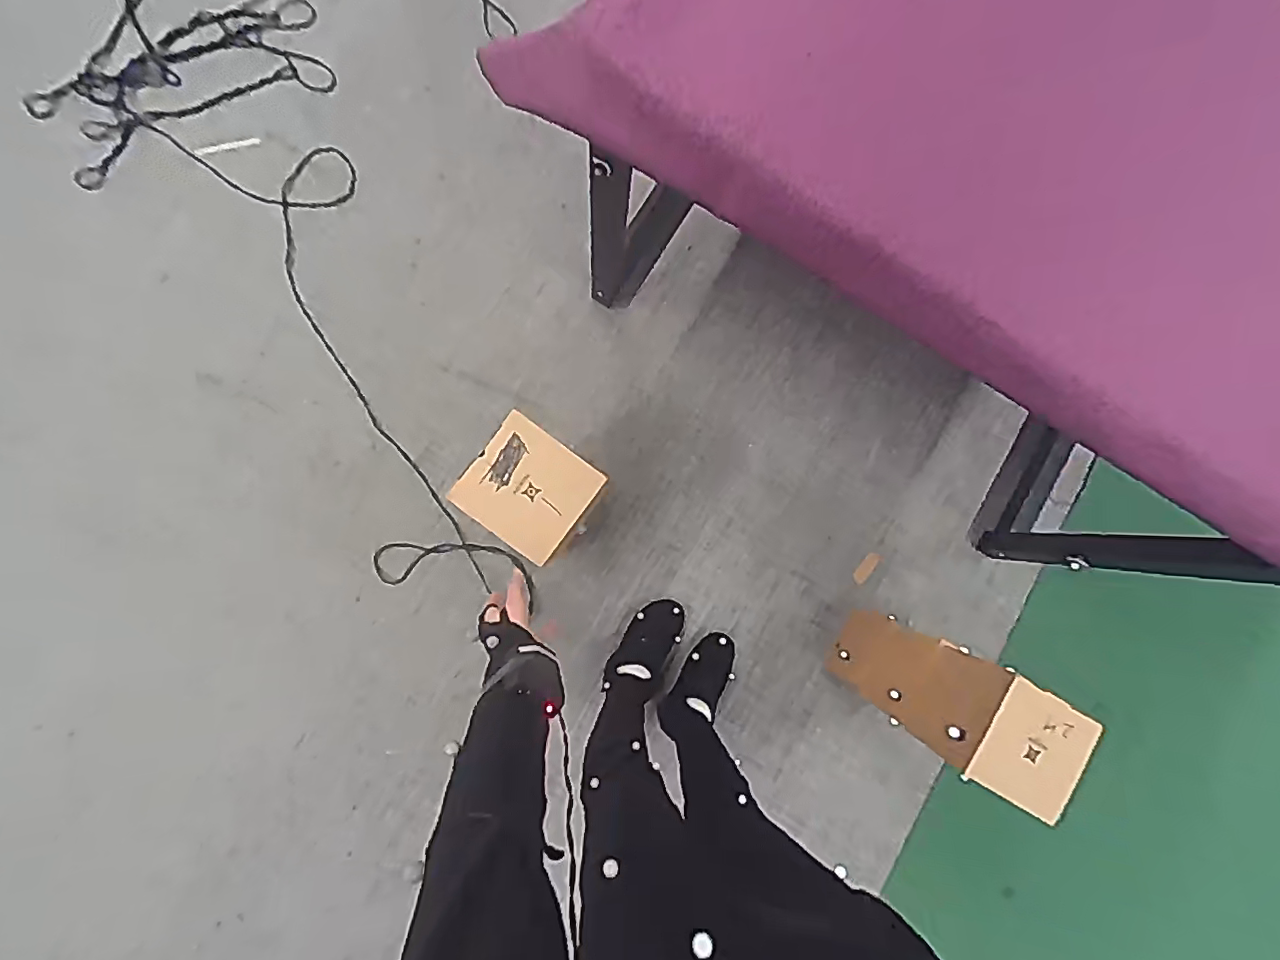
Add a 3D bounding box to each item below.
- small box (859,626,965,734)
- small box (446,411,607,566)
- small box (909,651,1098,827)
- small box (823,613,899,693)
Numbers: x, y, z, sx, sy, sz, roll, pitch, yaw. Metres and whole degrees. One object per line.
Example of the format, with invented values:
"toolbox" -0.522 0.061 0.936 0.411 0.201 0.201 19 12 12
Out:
"small box" 0.567 0.413 1.067 0.168 0.176 0.179 30 85 -2
"small box" -0.172 0.019 0.864 0.179 0.176 0.168 37 83 -2
"small box" 0.588 0.417 0.903 0.168 0.176 0.179 31 85 -3
"small box" 0.550 0.419 1.228 0.179 0.176 0.168 33 84 -2
